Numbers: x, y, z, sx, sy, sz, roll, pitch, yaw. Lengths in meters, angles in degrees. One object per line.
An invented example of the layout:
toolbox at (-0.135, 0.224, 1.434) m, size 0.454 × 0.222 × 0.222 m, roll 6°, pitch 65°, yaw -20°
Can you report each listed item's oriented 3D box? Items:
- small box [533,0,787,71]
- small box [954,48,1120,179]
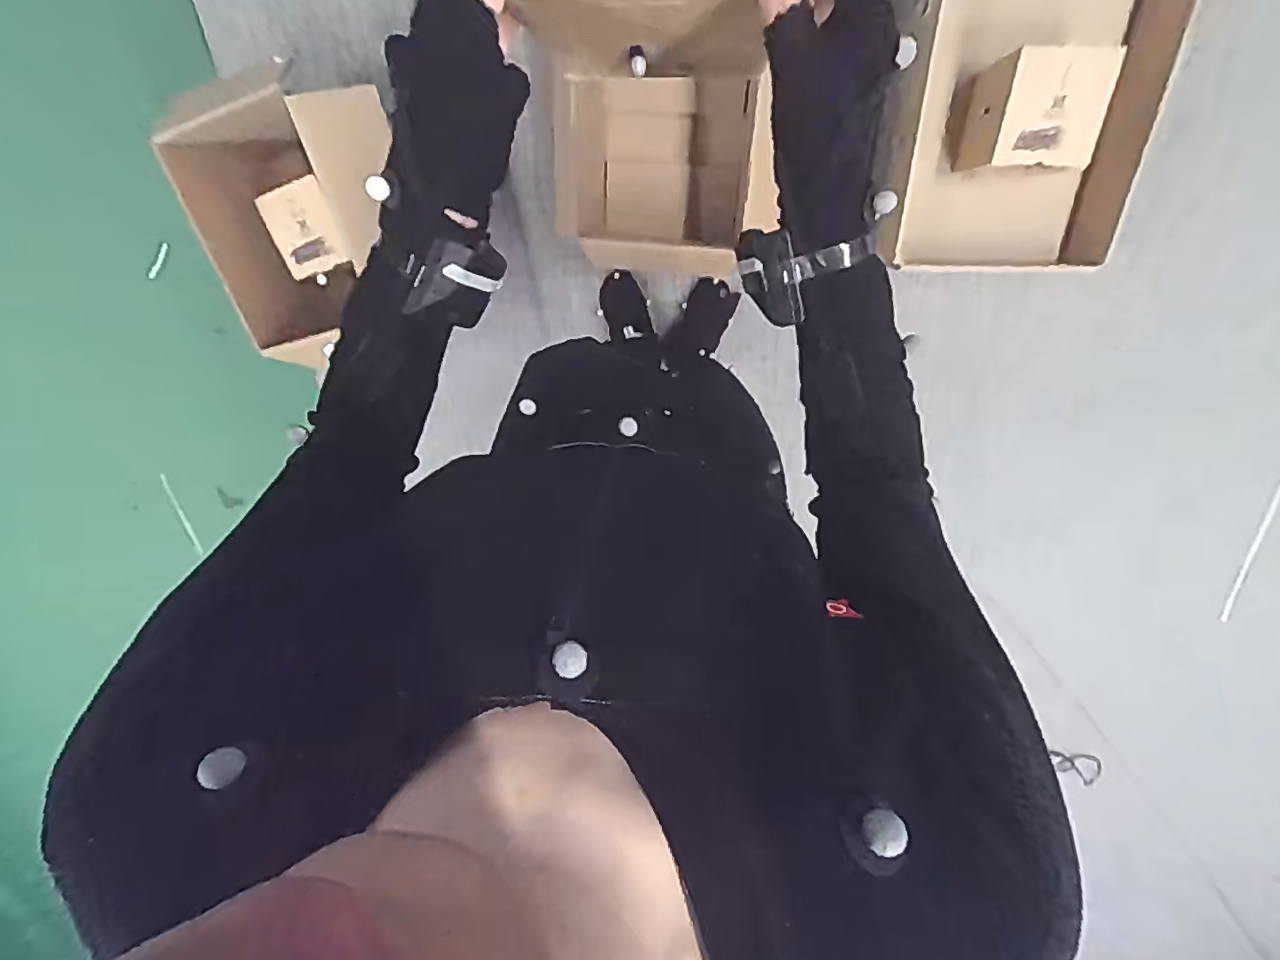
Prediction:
small box at (0.011, -0.377, 0.325) m, size 0.168 × 0.176 × 0.179 m, roll 4°, pitch 114°, yaw 7°
small box at (0.714, -0.665, 1.000) m, size 0.168 × 0.176 × 0.179 m, roll 5°, pitch 114°, yaw 4°
